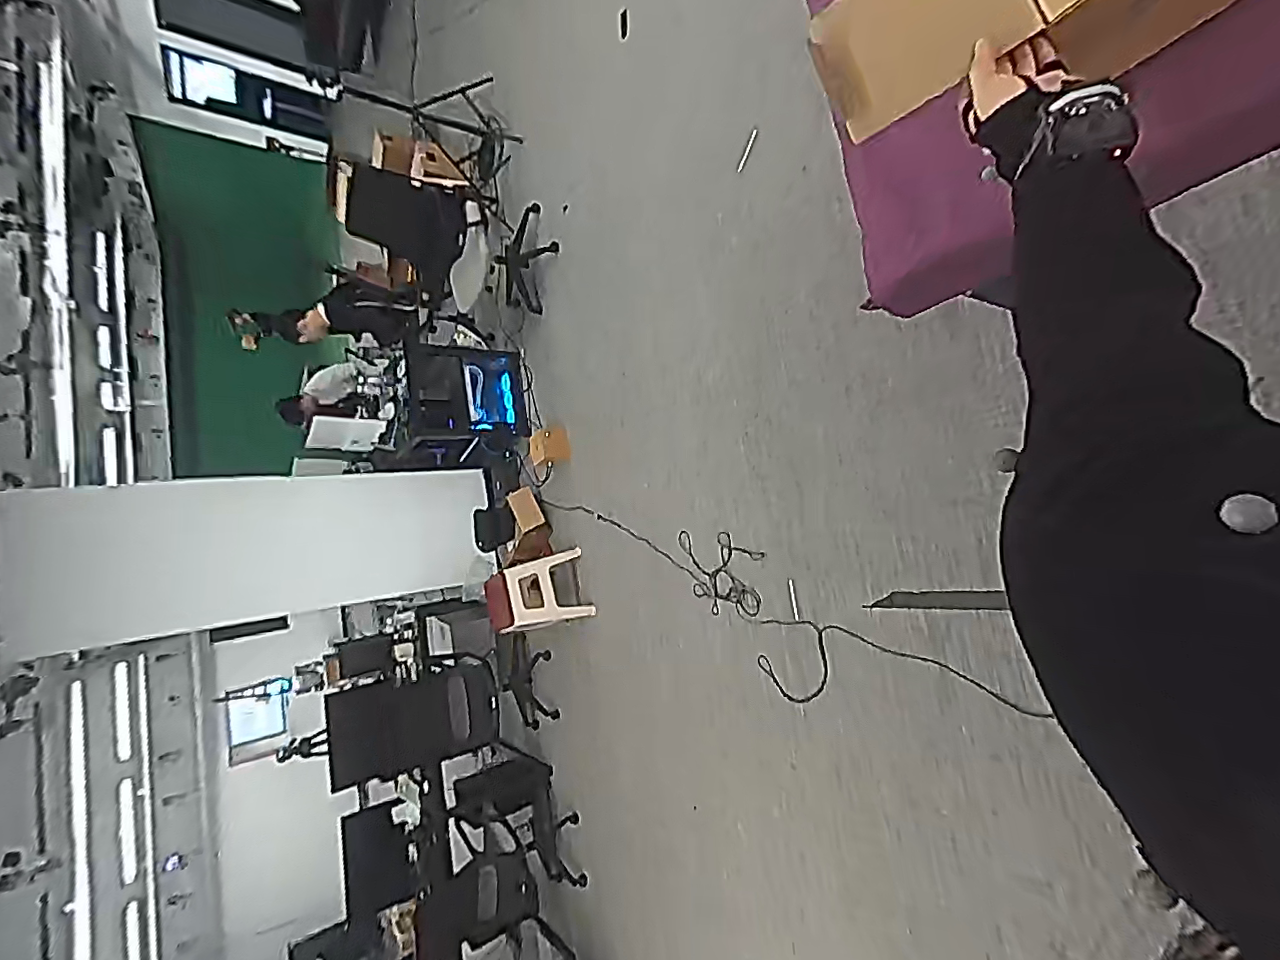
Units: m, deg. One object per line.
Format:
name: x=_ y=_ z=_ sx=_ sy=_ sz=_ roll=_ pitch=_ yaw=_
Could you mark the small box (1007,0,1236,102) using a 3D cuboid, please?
small box: x=0.454 y=-0.511 z=0.507 sx=0.179 sy=0.176 sz=0.168 roll=-22 pitch=80 yaw=39
